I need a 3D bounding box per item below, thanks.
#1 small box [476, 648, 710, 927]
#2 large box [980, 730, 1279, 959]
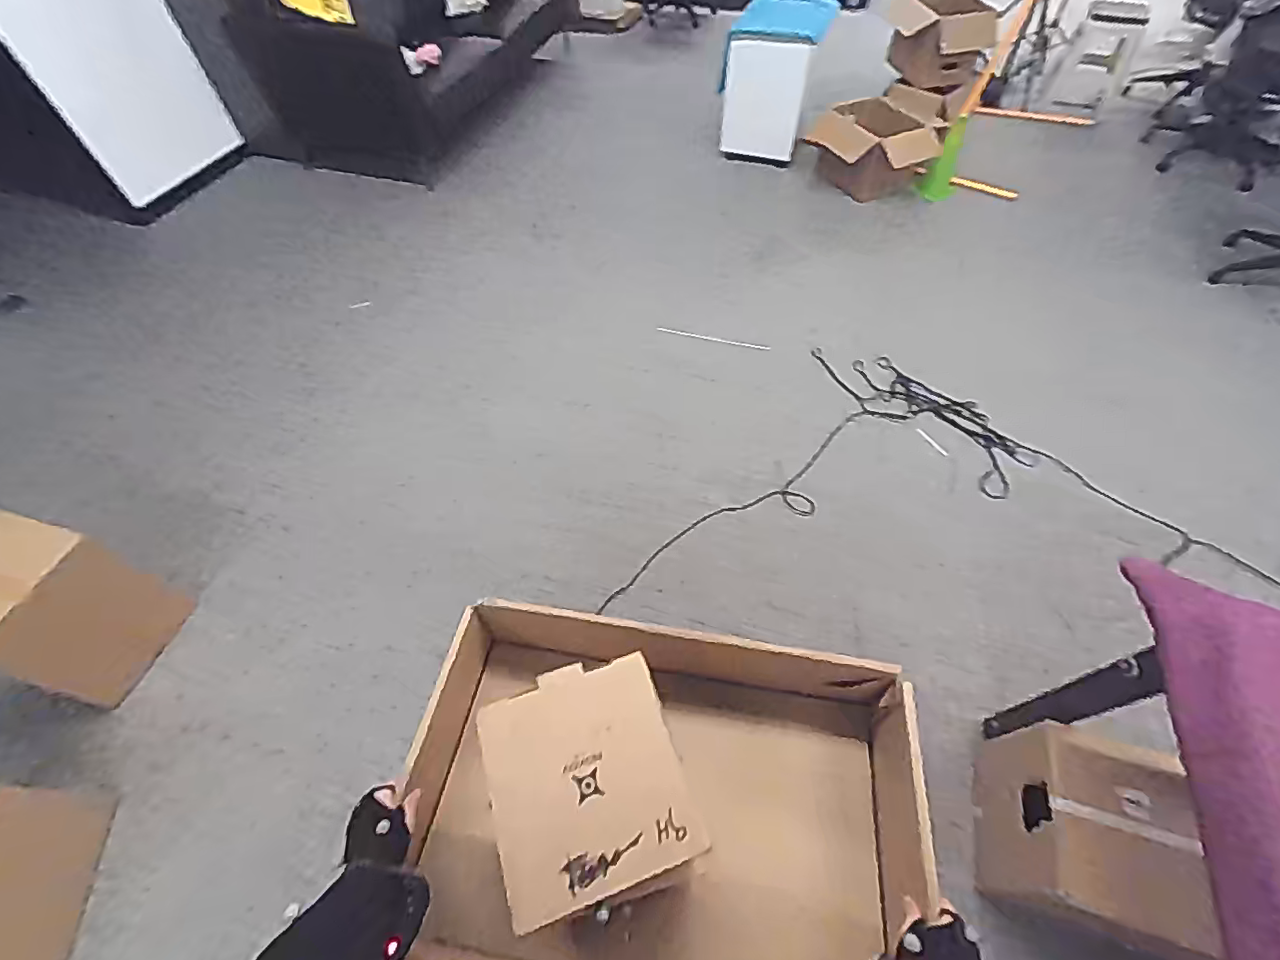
[{"bbox_3d":[-0.048,0.297,0.527,0.168,0.176,0.179,-16,54,-12],"label":"small box"},{"bbox_3d":[0.960,0.741,1.072,0.408,0.320,0.320,13,55,13],"label":"large box"}]
